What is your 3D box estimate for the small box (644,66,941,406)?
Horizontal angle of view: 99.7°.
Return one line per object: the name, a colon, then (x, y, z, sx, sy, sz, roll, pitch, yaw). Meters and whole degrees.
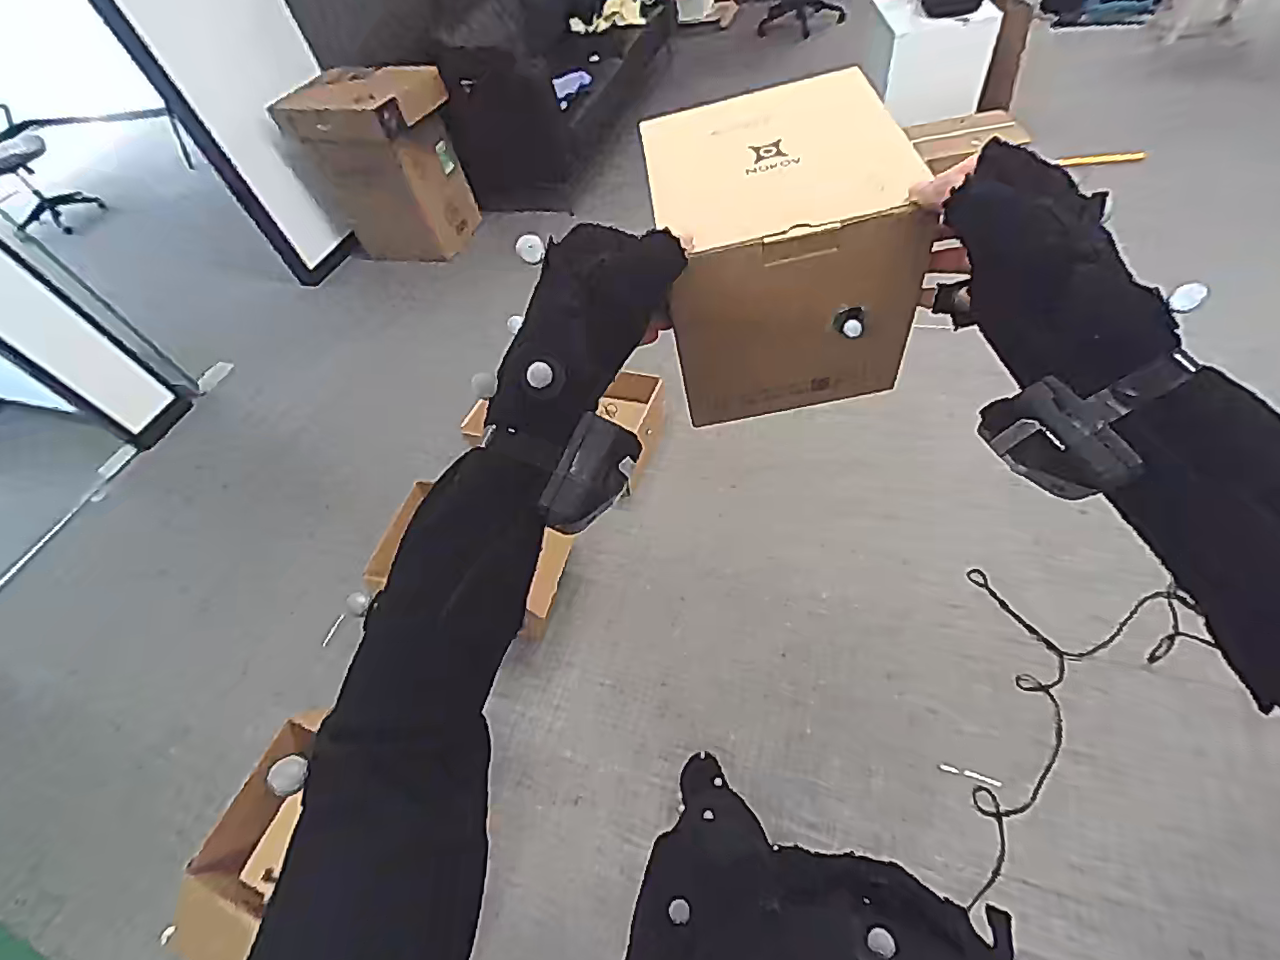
small box: (0.104, -0.176, 0.427, 0.168, 0.176, 0.179, -9, 57, 7)
